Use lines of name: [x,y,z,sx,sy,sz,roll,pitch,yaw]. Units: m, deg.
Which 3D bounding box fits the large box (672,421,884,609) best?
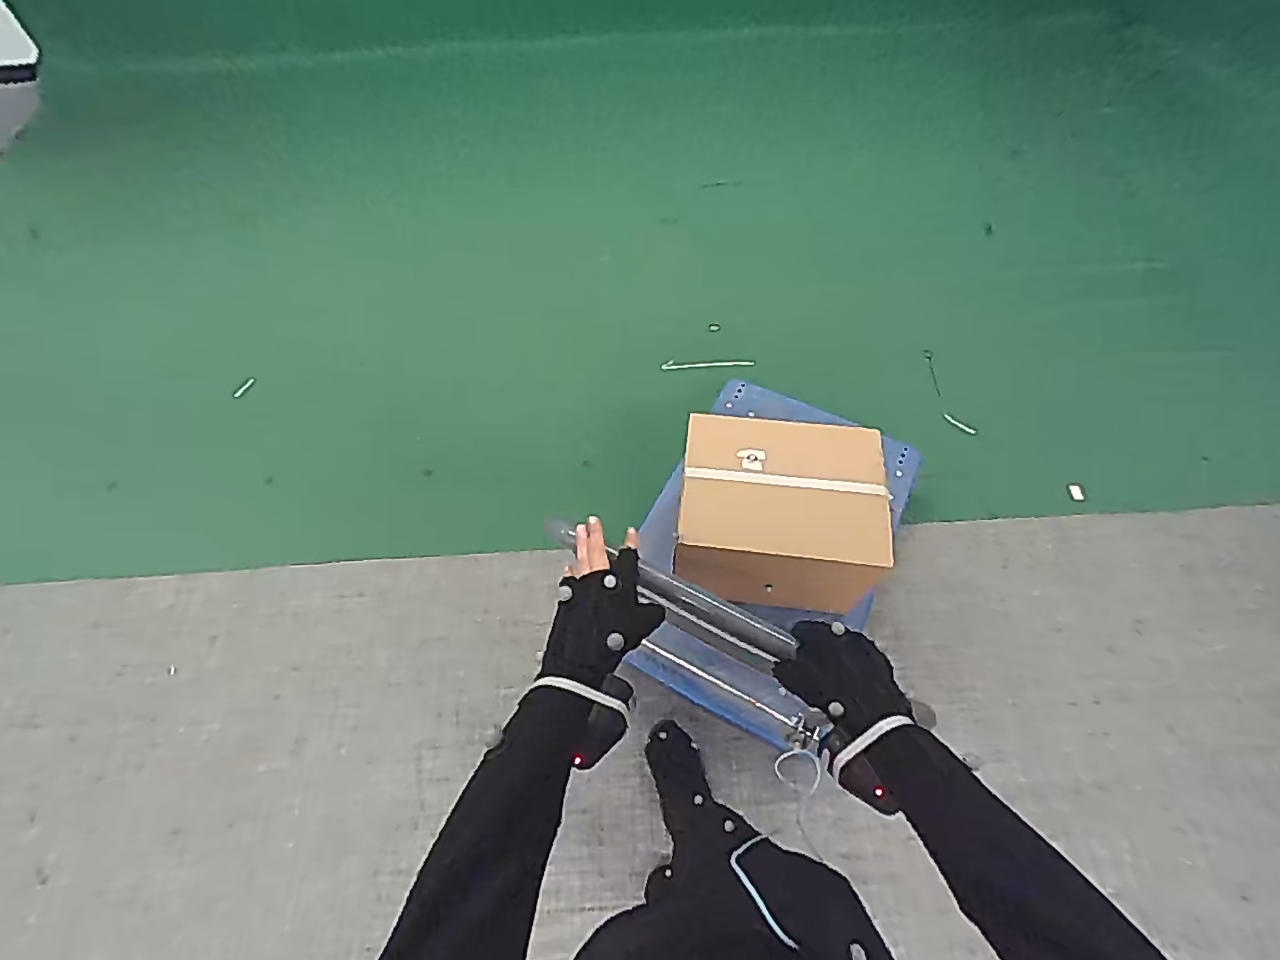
large box: [0.288,0.088,1.228,0.408,0.320,0.320,5,60,6]
